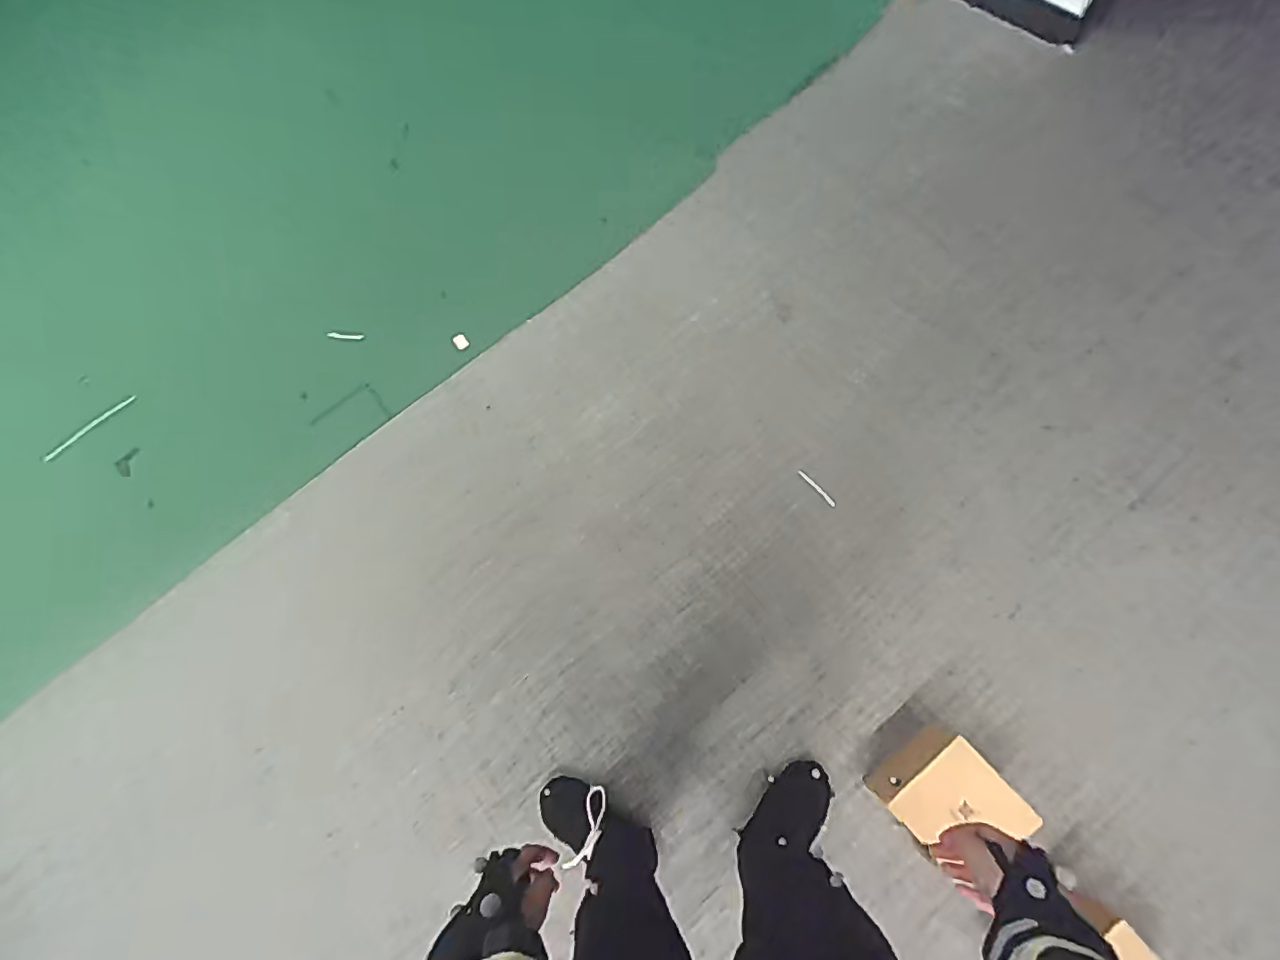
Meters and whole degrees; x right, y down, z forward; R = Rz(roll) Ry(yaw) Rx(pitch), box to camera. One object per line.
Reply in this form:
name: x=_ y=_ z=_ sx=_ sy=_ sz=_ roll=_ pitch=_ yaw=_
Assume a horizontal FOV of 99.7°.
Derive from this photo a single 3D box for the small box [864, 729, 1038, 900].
small box: x=0.525 y=0.565 z=0.946 sx=0.179 sy=0.176 sz=0.168 roll=-40 pitch=71 yaw=-5
